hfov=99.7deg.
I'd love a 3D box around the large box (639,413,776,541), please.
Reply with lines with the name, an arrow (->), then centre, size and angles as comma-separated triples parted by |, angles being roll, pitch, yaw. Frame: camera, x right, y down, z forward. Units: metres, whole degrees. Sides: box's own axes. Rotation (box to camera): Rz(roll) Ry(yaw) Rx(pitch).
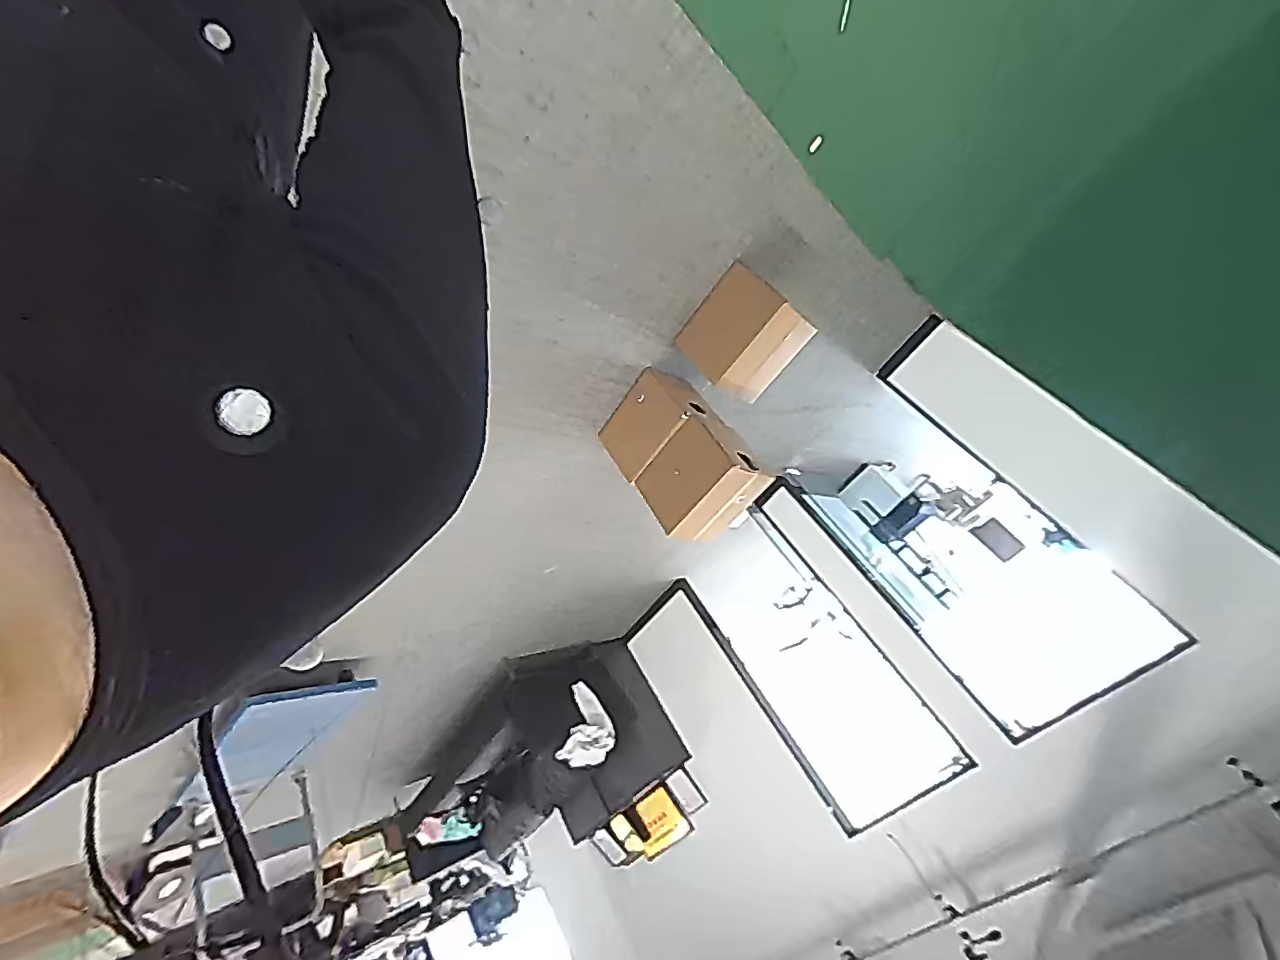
large box -> 0.267, -0.002, 2.229 | 0.320, 0.320, 0.408 | 12, 125, -46
